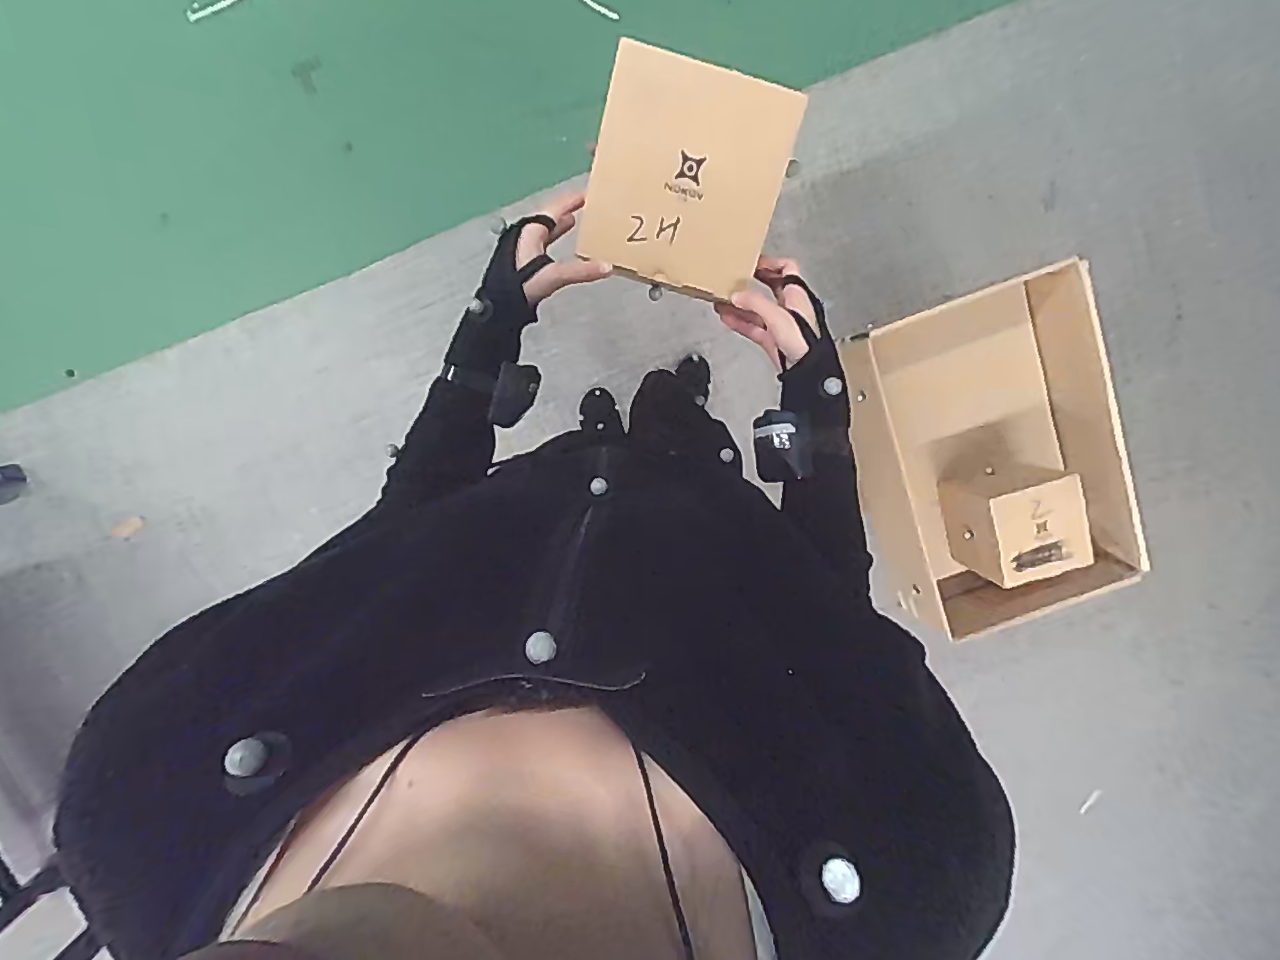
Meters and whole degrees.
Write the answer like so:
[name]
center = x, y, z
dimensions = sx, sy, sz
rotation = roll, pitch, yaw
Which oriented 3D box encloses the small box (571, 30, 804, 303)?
[small box]
center = 0.039, -0.289, 0.545
dimensions = 0.168, 0.176, 0.179
rotation = 15, 106, -3
